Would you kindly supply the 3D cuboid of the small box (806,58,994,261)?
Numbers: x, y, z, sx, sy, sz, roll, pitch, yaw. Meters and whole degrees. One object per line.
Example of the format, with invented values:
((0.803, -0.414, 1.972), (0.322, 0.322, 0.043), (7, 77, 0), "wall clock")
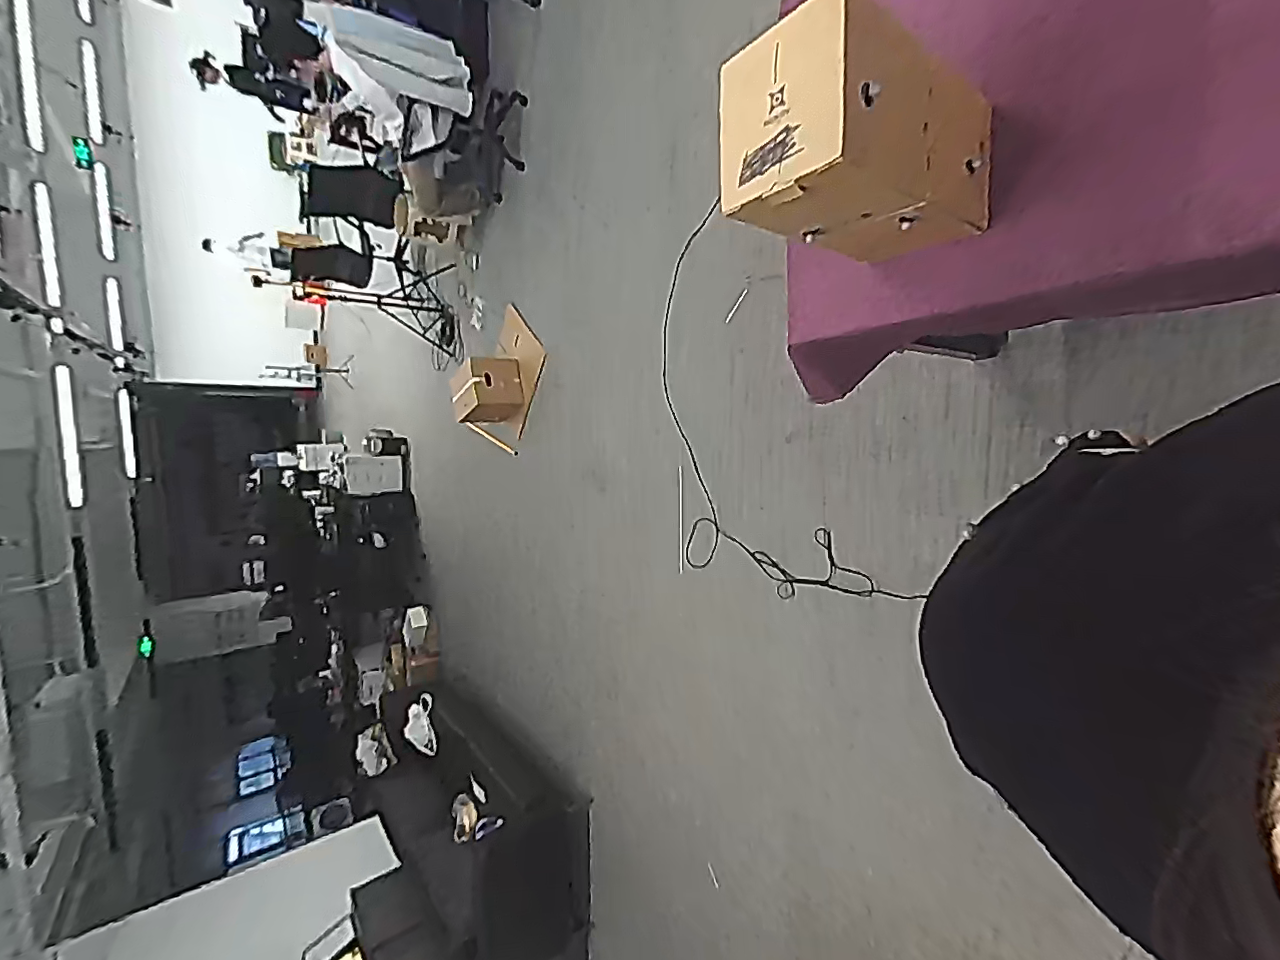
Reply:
((0.354, -0.419, 0.747), (0.179, 0.176, 0.168), (6, 98, 53), "small box")

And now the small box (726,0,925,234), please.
((0.222, -0.414, 0.650), (0.168, 0.176, 0.179), (4, 95, 52), "small box")
